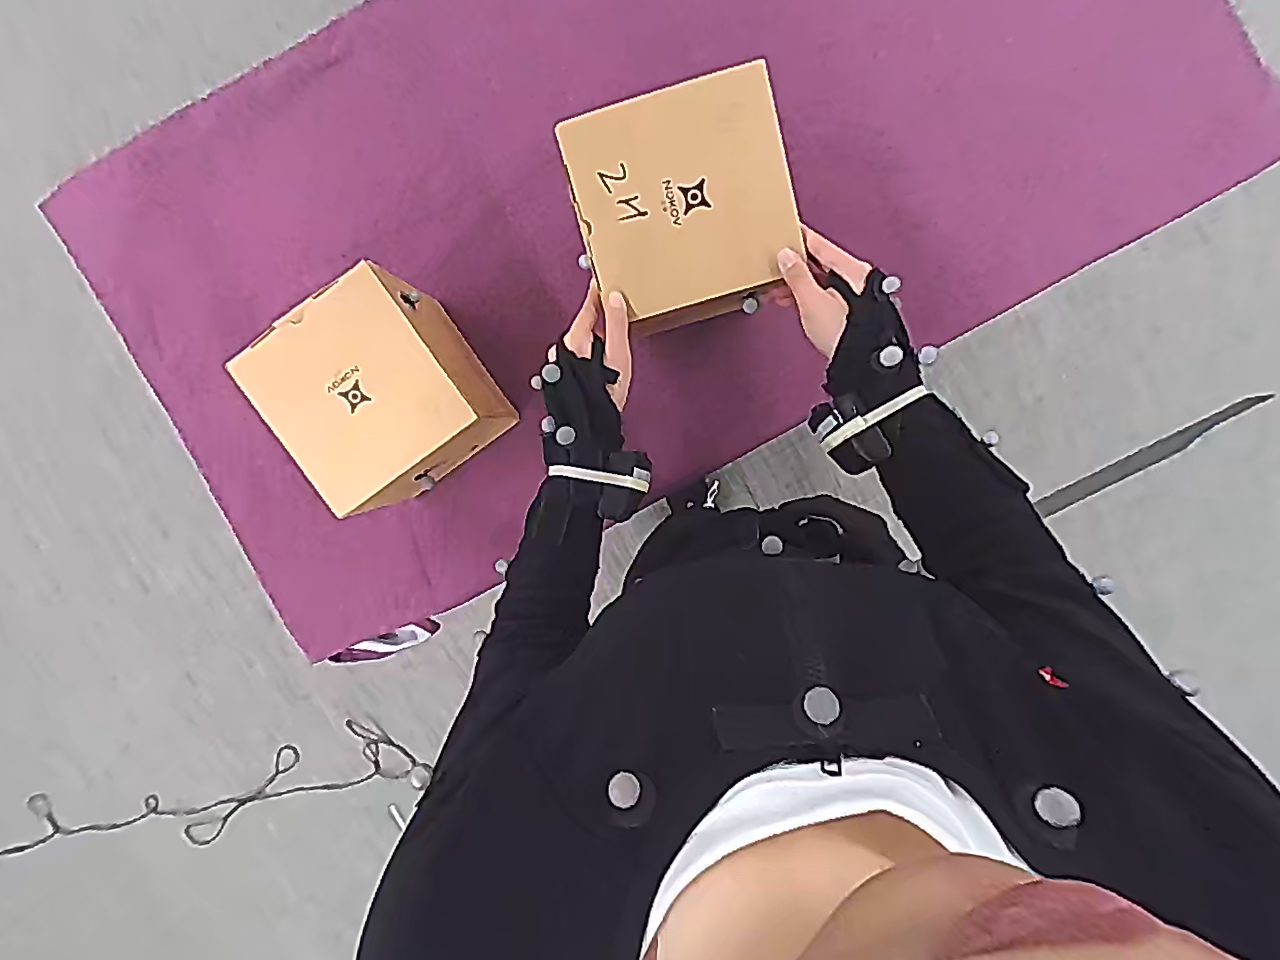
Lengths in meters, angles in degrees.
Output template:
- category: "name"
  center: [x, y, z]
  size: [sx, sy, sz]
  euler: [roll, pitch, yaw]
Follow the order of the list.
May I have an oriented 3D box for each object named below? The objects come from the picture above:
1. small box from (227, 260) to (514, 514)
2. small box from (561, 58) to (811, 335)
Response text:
- category: "small box"
  center: [-0.259, -0.090, 0.570]
  size: [0.168, 0.176, 0.179]
  euler: [-35, 93, 4]
- category: "small box"
  center: [0.039, -0.245, 0.516]
  size: [0.179, 0.176, 0.168]
  euler: [-15, 99, 4]
